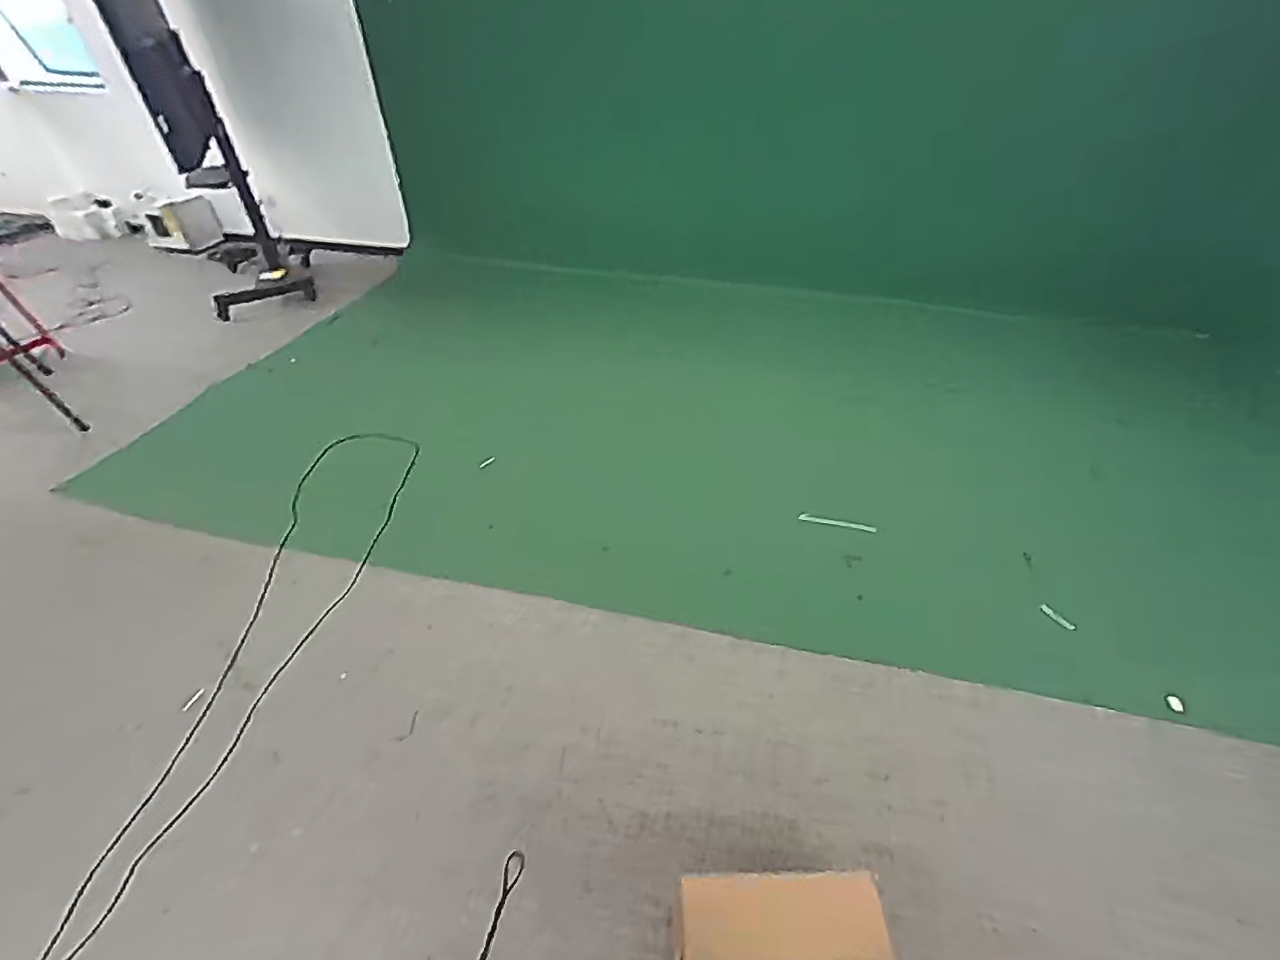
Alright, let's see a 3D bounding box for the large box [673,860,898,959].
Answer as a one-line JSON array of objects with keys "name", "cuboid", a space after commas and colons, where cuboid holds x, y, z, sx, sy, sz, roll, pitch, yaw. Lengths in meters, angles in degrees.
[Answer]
[{"name": "large box", "cuboid": [0.286, 1.012, 1.121, 0.408, 0.320, 0.320, 1, 44, -1]}]
